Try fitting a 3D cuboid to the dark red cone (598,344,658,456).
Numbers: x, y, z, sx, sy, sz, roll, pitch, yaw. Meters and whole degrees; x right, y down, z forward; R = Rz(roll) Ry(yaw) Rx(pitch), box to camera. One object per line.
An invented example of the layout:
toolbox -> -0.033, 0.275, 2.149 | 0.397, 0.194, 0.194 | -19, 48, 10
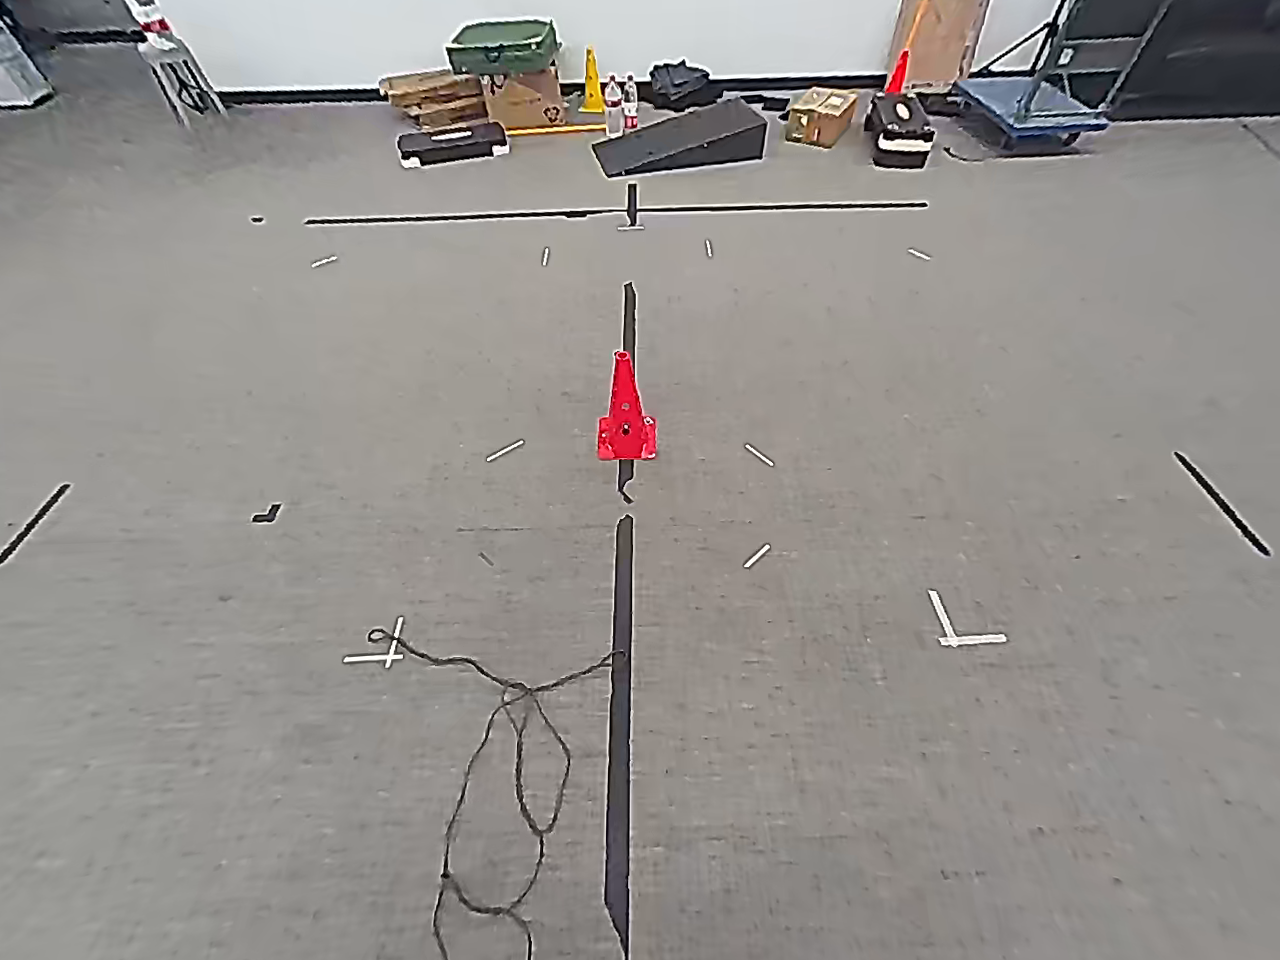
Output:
dark red cone -> -0.047, -0.263, 1.715 | 0.201, 0.394, 0.202 | -2, 51, 1
